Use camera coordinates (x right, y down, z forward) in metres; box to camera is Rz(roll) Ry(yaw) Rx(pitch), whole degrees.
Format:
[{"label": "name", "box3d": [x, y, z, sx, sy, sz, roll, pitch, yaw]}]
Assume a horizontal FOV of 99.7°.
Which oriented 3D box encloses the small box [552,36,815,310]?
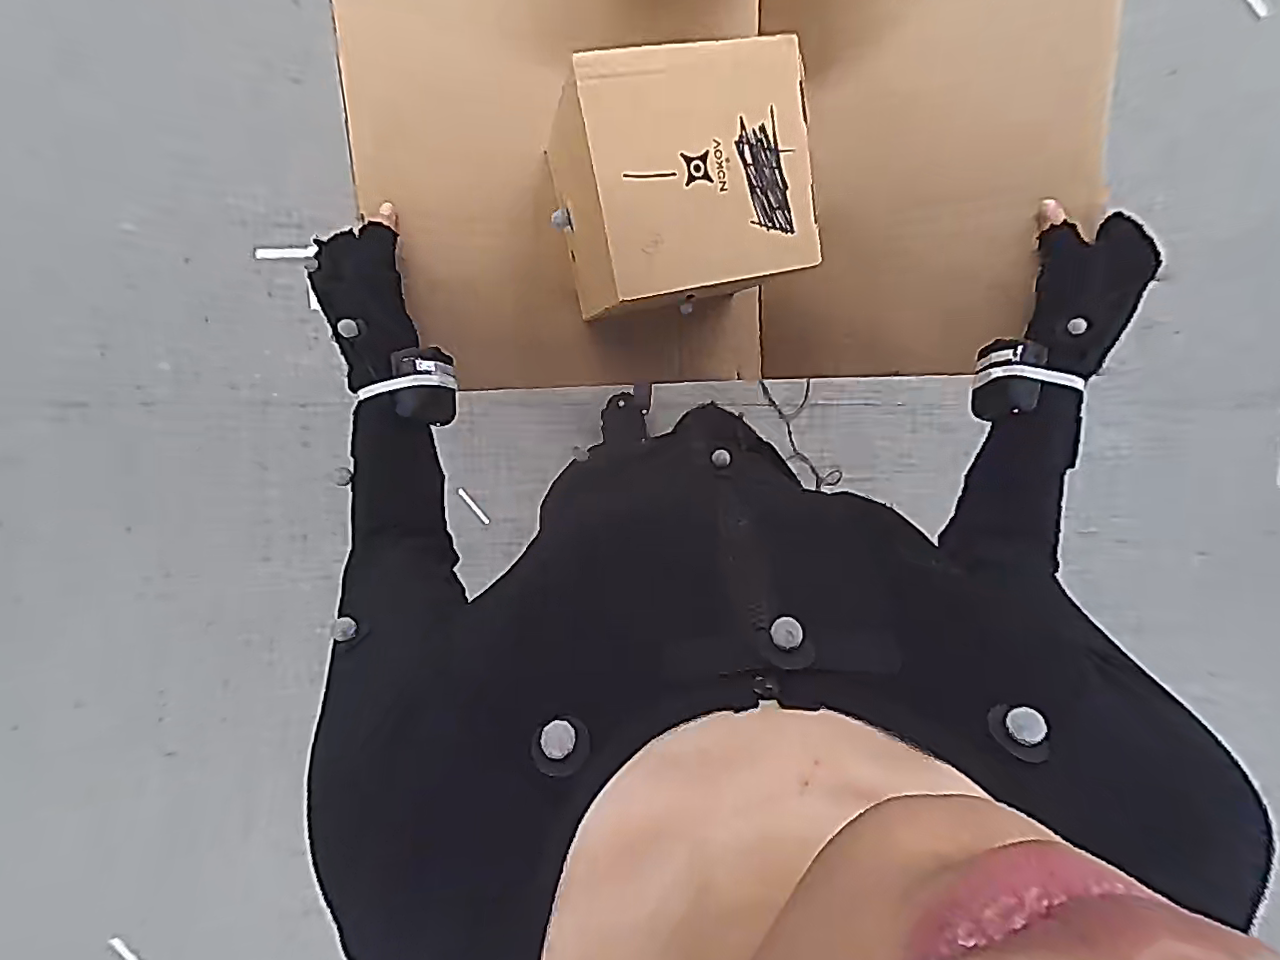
[{"label": "small box", "box3d": [0.030, -0.256, 0.488, 0.179, 0.176, 0.168, -14, 104, -12]}]
